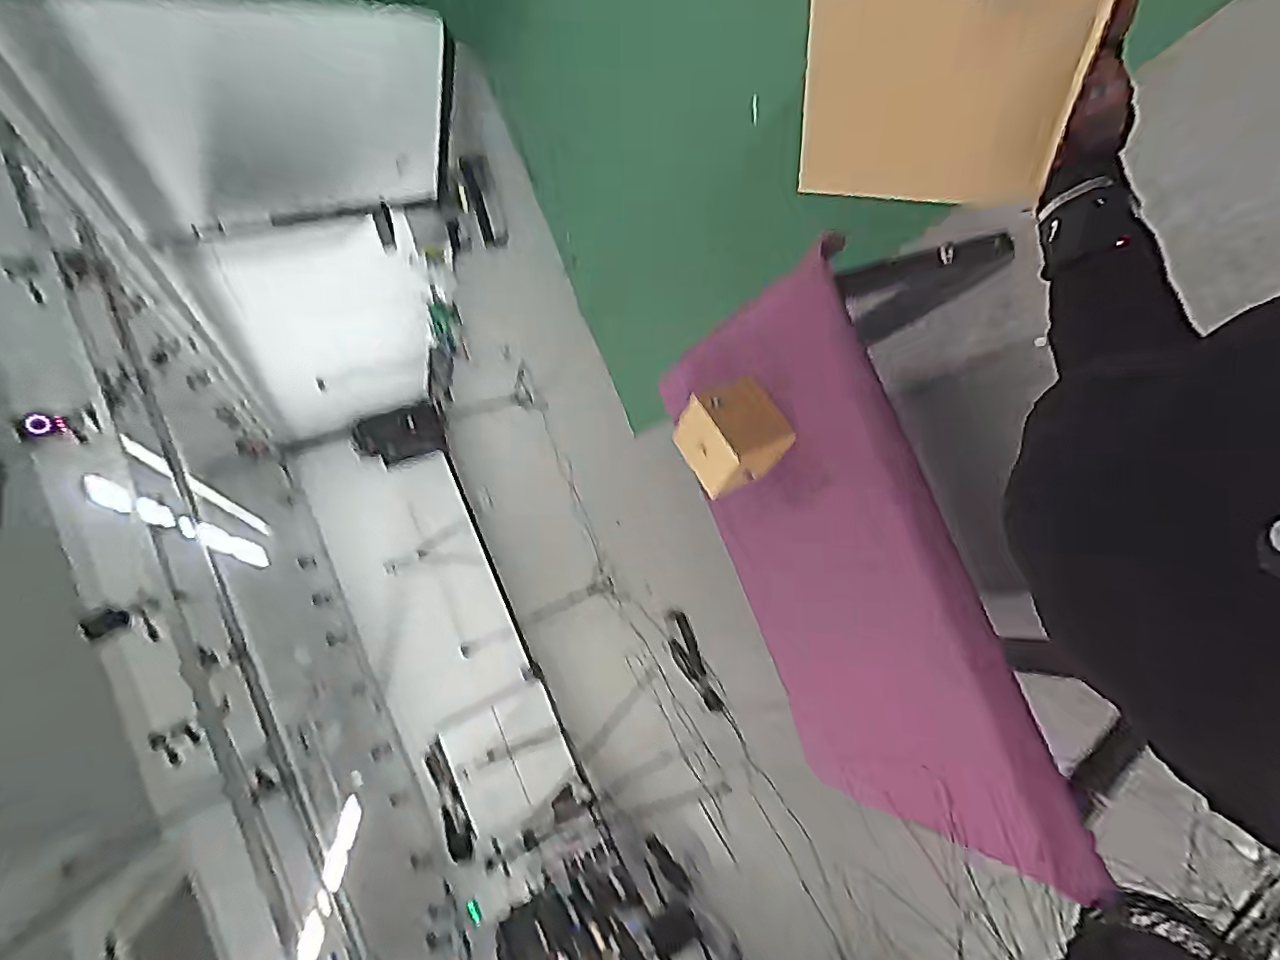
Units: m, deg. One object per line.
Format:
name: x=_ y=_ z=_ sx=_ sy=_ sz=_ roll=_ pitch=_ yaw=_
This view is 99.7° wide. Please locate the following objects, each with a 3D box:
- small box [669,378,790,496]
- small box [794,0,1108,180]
small box: x=0.196 y=-0.099 z=1.195 sx=0.179 sy=0.176 sz=0.168 roll=58 pitch=153 yaw=20
small box: x=0.218 y=-0.332 z=0.365 sx=0.168 sy=0.179 sz=0.176 roll=19 pitch=146 yaw=25
